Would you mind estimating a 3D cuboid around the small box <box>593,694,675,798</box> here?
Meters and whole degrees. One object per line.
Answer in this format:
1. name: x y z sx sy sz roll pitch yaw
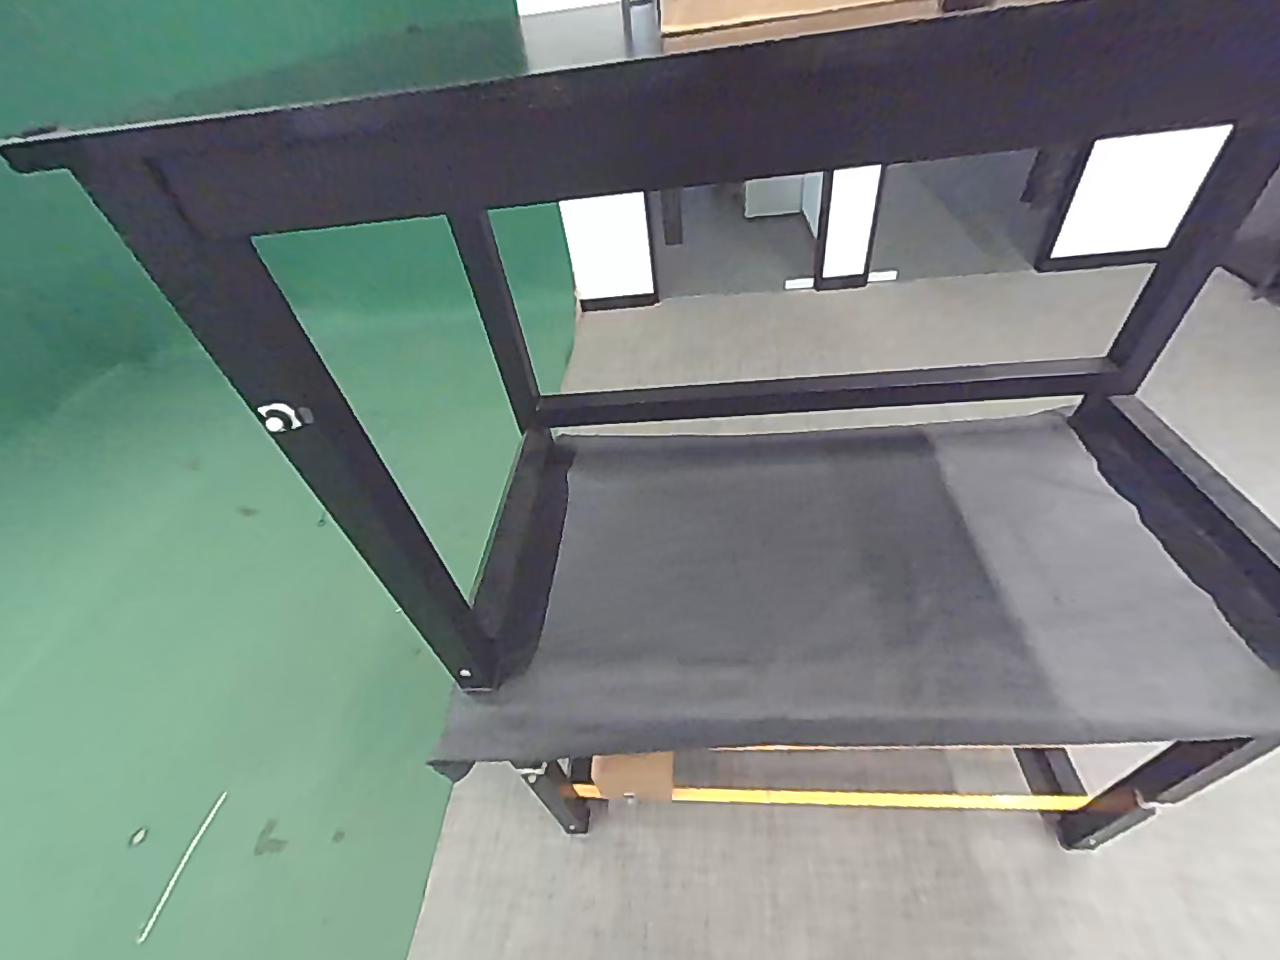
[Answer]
1. small box: -0.007 0.619 1.261 0.168 0.176 0.179 -3 46 7
